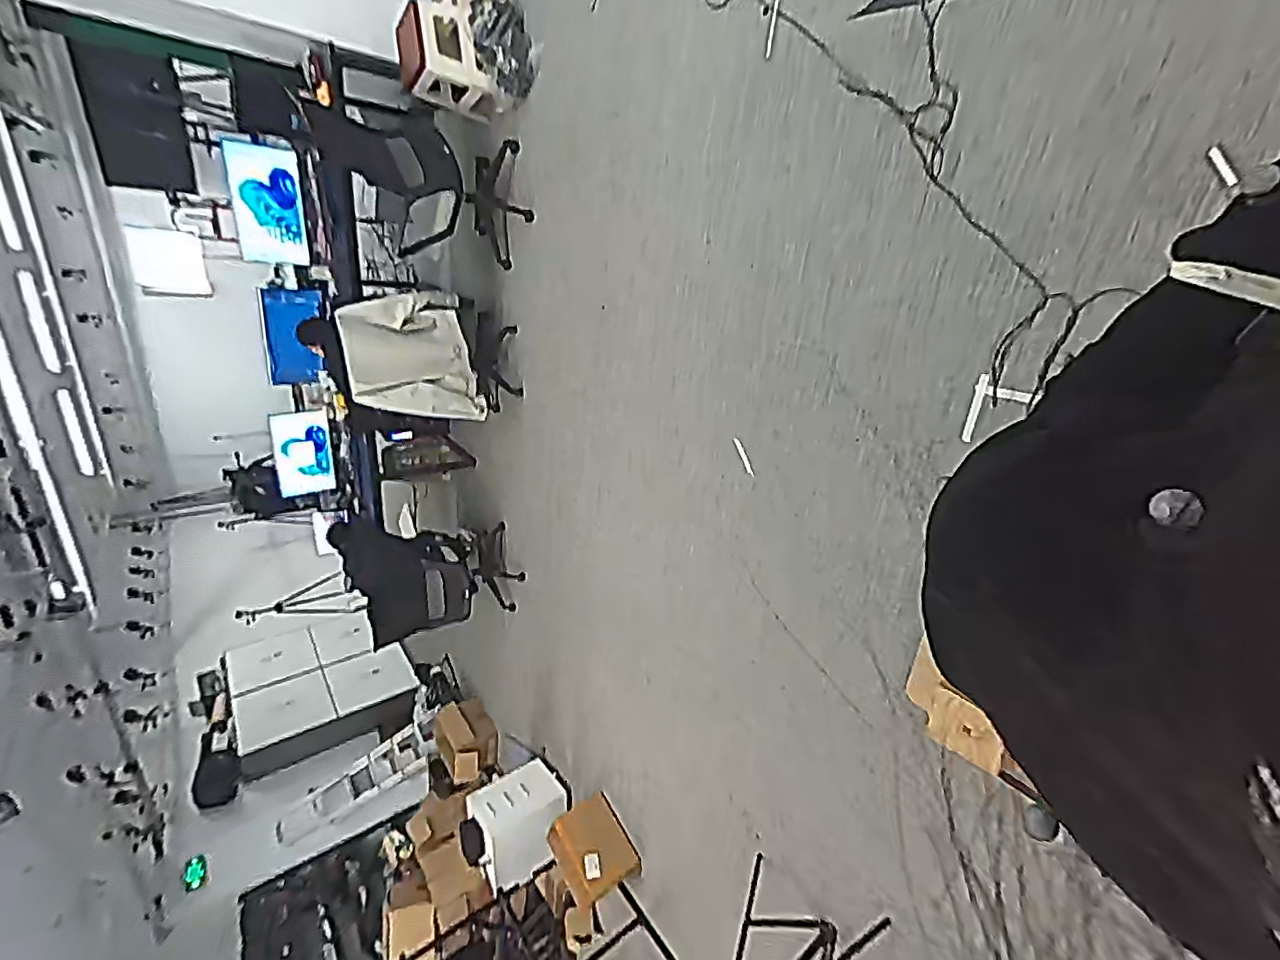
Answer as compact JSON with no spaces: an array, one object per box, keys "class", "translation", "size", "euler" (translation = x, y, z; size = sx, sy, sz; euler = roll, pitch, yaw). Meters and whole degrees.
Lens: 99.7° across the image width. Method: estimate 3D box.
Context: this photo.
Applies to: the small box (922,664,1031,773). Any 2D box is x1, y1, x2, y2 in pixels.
[{"class":"small box","translation":[0.874,0.606,1.407],"size":[0.179,0.176,0.168],"euler":[22,118,46]}]
